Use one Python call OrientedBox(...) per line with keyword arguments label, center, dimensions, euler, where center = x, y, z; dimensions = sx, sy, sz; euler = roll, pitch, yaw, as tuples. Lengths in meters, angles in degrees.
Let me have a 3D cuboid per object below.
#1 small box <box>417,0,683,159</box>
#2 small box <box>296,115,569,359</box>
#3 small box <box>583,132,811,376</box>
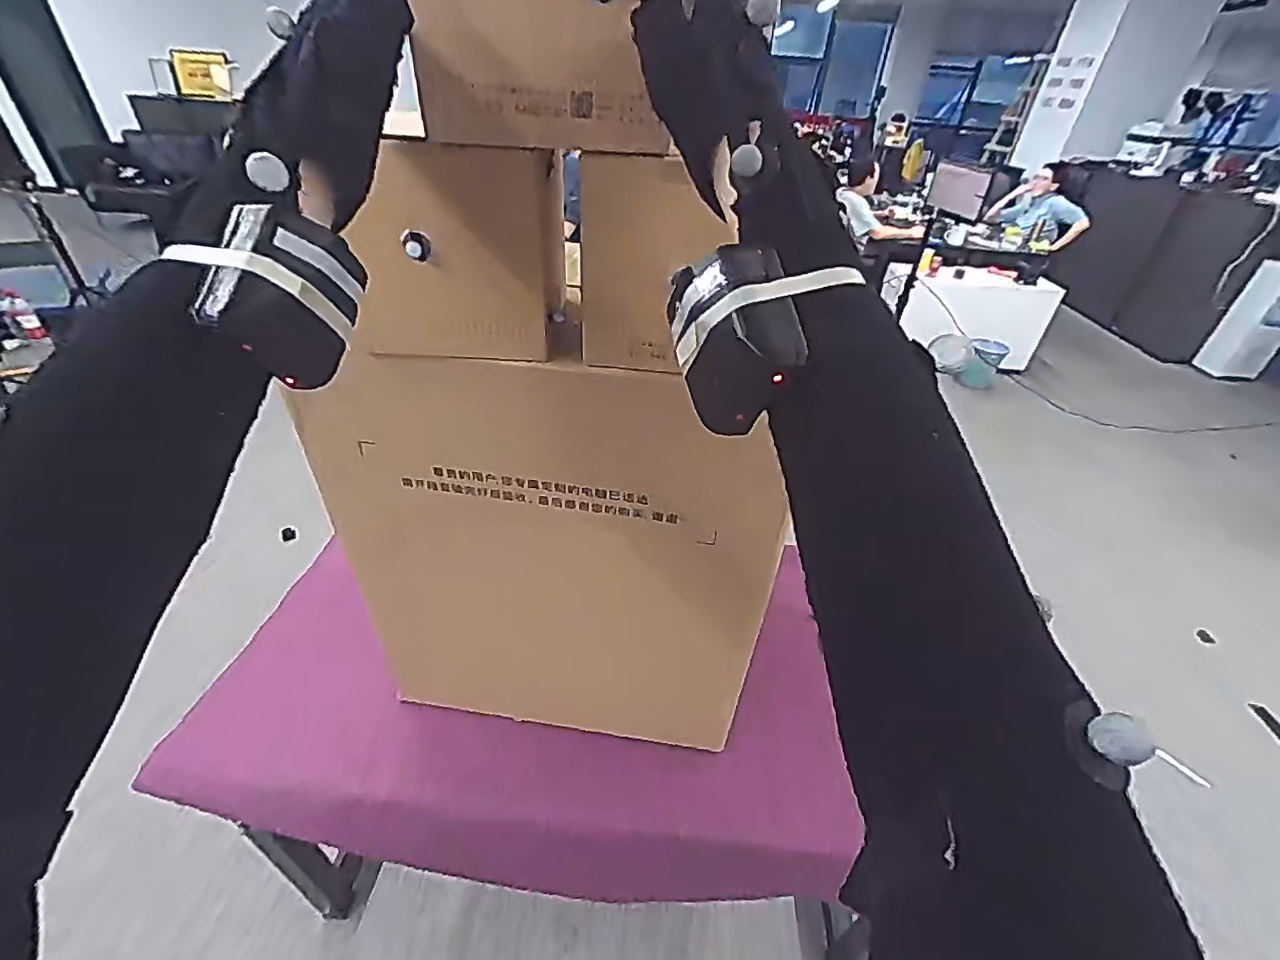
OrientedBox(label="small box", center=(-0.058, -0.340, 0.391), dimensions=(0.168, 0.176, 0.179), euler=(1, 37, -5))
OrientedBox(label="small box", center=(-0.160, -0.221, 0.494), dimensions=(0.179, 0.176, 0.168), euler=(2, 37, -1))
OrientedBox(label="small box", center=(0.046, -0.210, 0.496), dimensions=(0.168, 0.176, 0.179), euler=(6, 38, 2))
